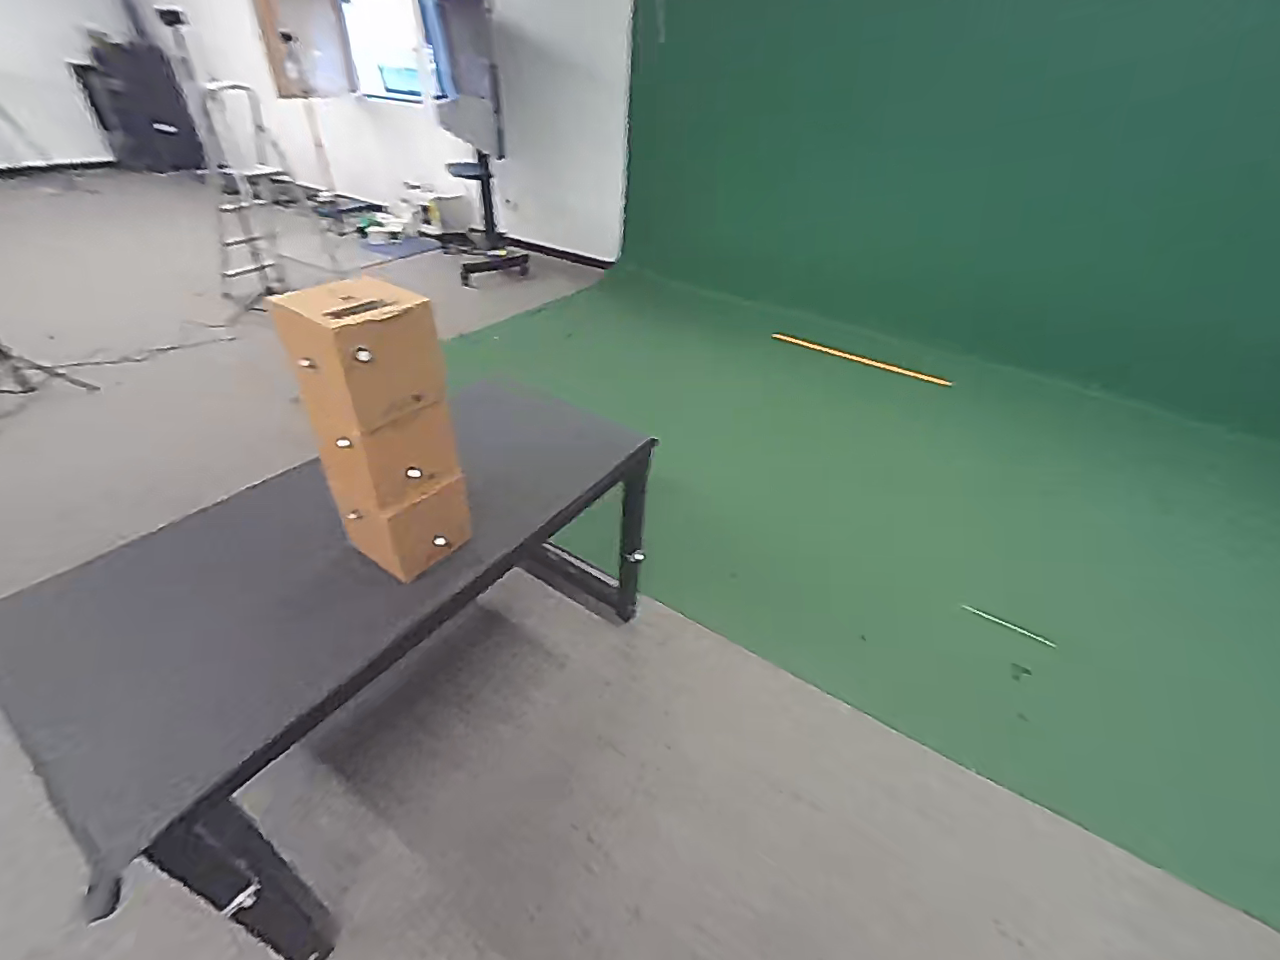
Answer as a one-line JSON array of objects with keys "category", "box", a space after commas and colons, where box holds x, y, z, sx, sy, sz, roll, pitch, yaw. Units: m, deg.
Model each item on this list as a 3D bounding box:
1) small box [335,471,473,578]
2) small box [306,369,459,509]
[{"category": "small box", "box": [-0.452, 0.060, 1.055, 0.179, 0.176, 0.168, 25, 42, 26]}, {"category": "small box", "box": [-0.449, -0.074, 0.964, 0.179, 0.176, 0.168, 25, 41, 26]}]
